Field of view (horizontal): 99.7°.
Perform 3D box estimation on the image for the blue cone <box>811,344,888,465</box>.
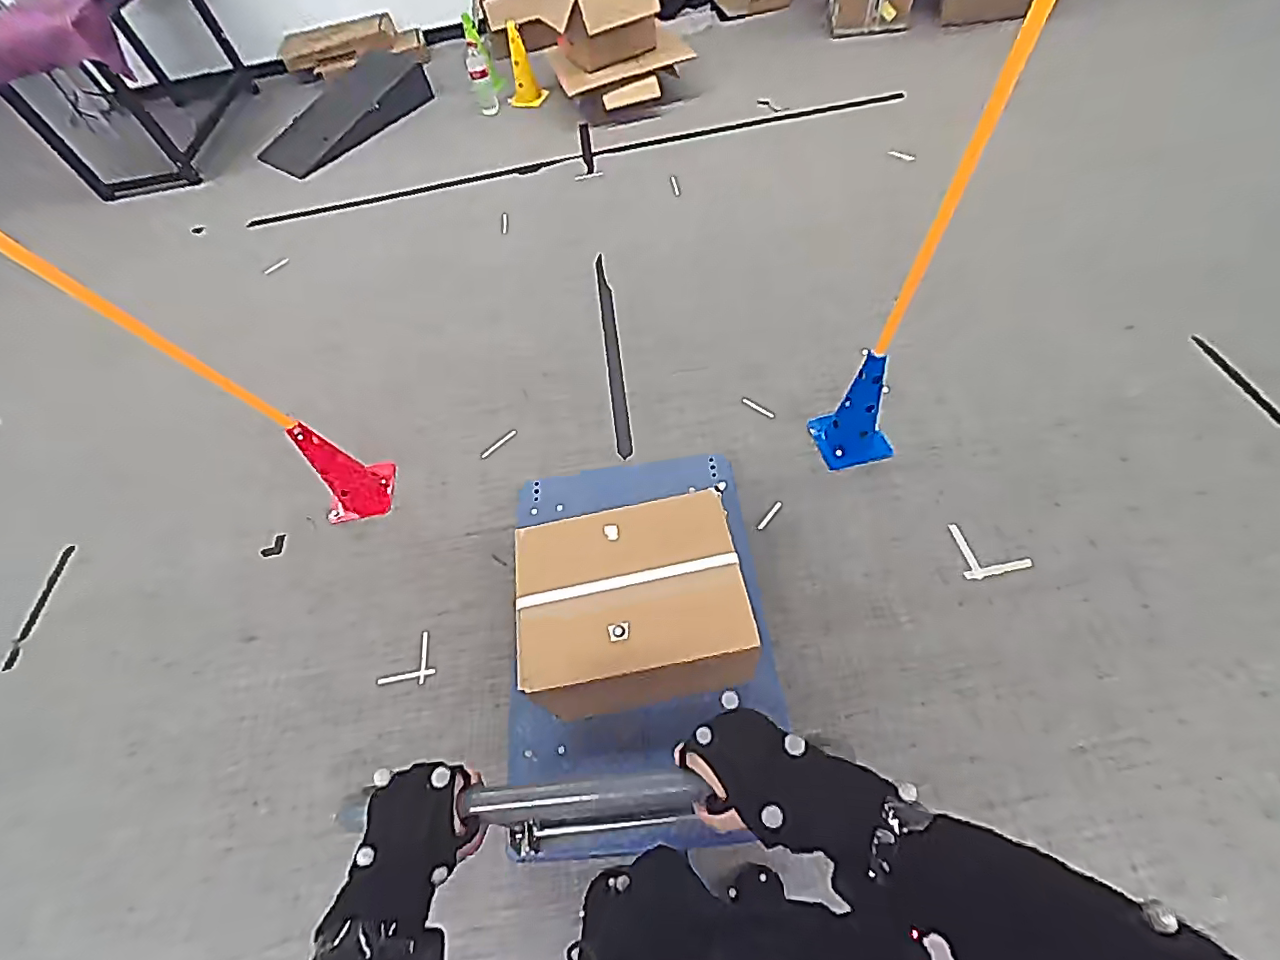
[{"bbox_3d":[0.620,-0.221,1.510,0.193,0.380,0.192,-13,56,-1],"label":"blue cone"}]
